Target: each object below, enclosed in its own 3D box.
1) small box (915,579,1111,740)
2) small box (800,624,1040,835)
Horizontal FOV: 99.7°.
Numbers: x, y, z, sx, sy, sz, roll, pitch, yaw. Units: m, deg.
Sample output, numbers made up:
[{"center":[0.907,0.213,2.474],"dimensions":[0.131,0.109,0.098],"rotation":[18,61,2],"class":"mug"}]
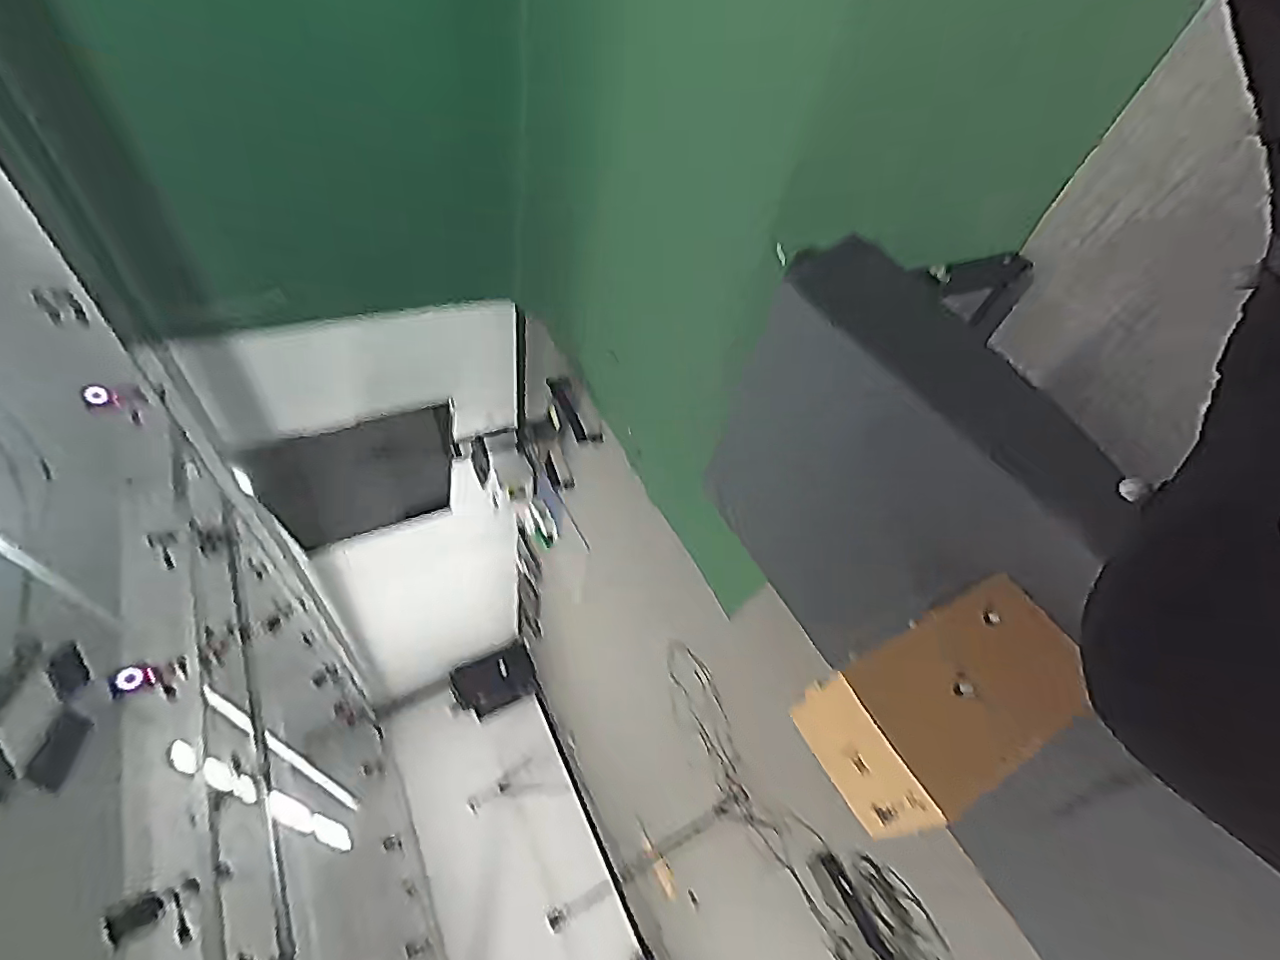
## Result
[{"center":[0.488,0.261,0.761],"dimensions":[0.179,0.176,0.168],"rotation":[55,152,31],"class":"small box"},{"center":[0.348,0.309,0.696],"dimensions":[0.179,0.176,0.168],"rotation":[55,150,32],"class":"small box"}]
